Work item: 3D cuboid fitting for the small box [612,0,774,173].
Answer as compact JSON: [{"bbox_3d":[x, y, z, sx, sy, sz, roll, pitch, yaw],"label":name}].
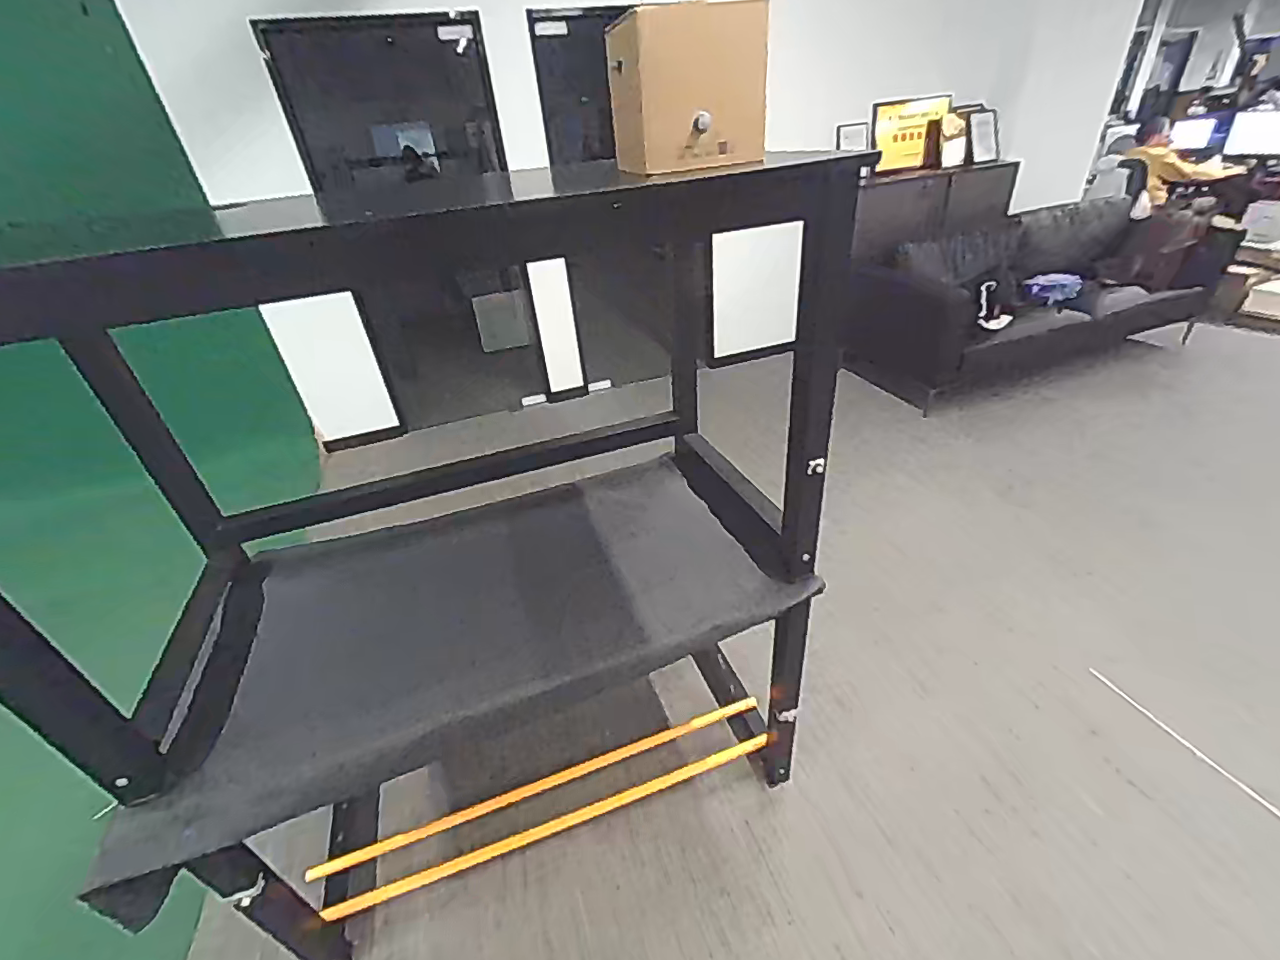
[{"bbox_3d":[0.064,-0.517,0.726,0.168,0.176,0.179,-12,34,-9],"label":"small box"}]
